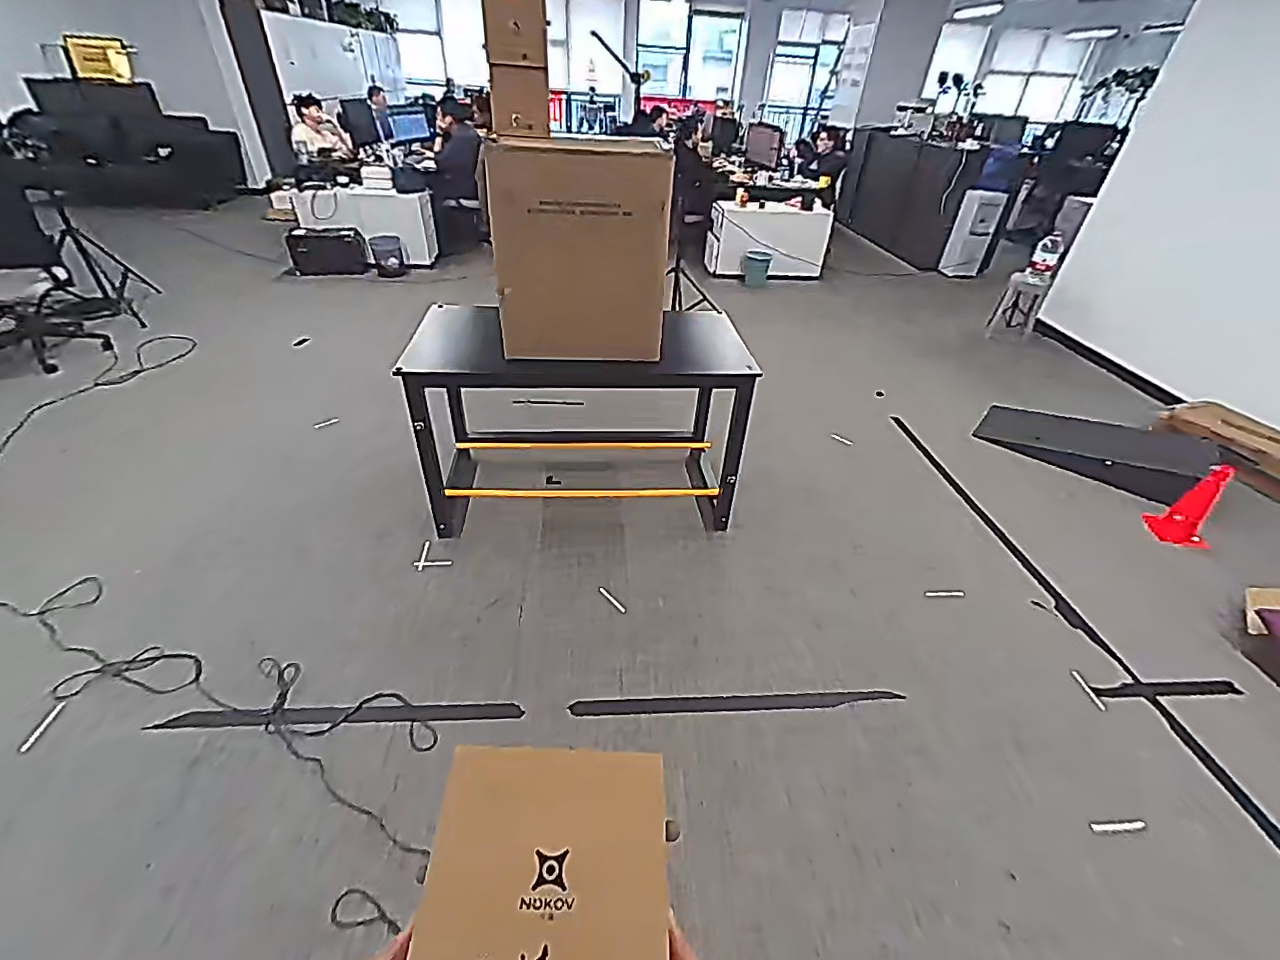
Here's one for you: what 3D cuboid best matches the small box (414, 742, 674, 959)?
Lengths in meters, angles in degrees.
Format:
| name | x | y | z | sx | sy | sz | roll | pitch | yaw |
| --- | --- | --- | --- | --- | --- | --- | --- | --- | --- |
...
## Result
| name | x | y | z | sx | sy | sz | roll | pitch | yaw |
| --- | --- | --- | --- | --- | --- | --- | --- | --- | --- |
| small box | -0.067 | 0.331 | 0.426 | 0.168 | 0.176 | 0.179 | 4 | 44 | -4 |

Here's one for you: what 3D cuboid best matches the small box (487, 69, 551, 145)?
| name | x | y | z | sx | sy | sz | roll | pitch | yaw |
| --- | --- | --- | --- | --- | --- | --- | --- | --- | --- |
| small box | -0.352 | -1.098 | 1.592 | 0.168 | 0.176 | 0.179 | -4 | 37 | -9 |

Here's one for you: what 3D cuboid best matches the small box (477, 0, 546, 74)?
| name | x | y | z | sx | sy | sz | roll | pitch | yaw |
| --- | --- | --- | --- | --- | --- | --- | --- | --- | --- |
| small box | -0.344 | -1.221 | 1.482 | 0.168 | 0.176 | 0.179 | -2 | 37 | -8 |
